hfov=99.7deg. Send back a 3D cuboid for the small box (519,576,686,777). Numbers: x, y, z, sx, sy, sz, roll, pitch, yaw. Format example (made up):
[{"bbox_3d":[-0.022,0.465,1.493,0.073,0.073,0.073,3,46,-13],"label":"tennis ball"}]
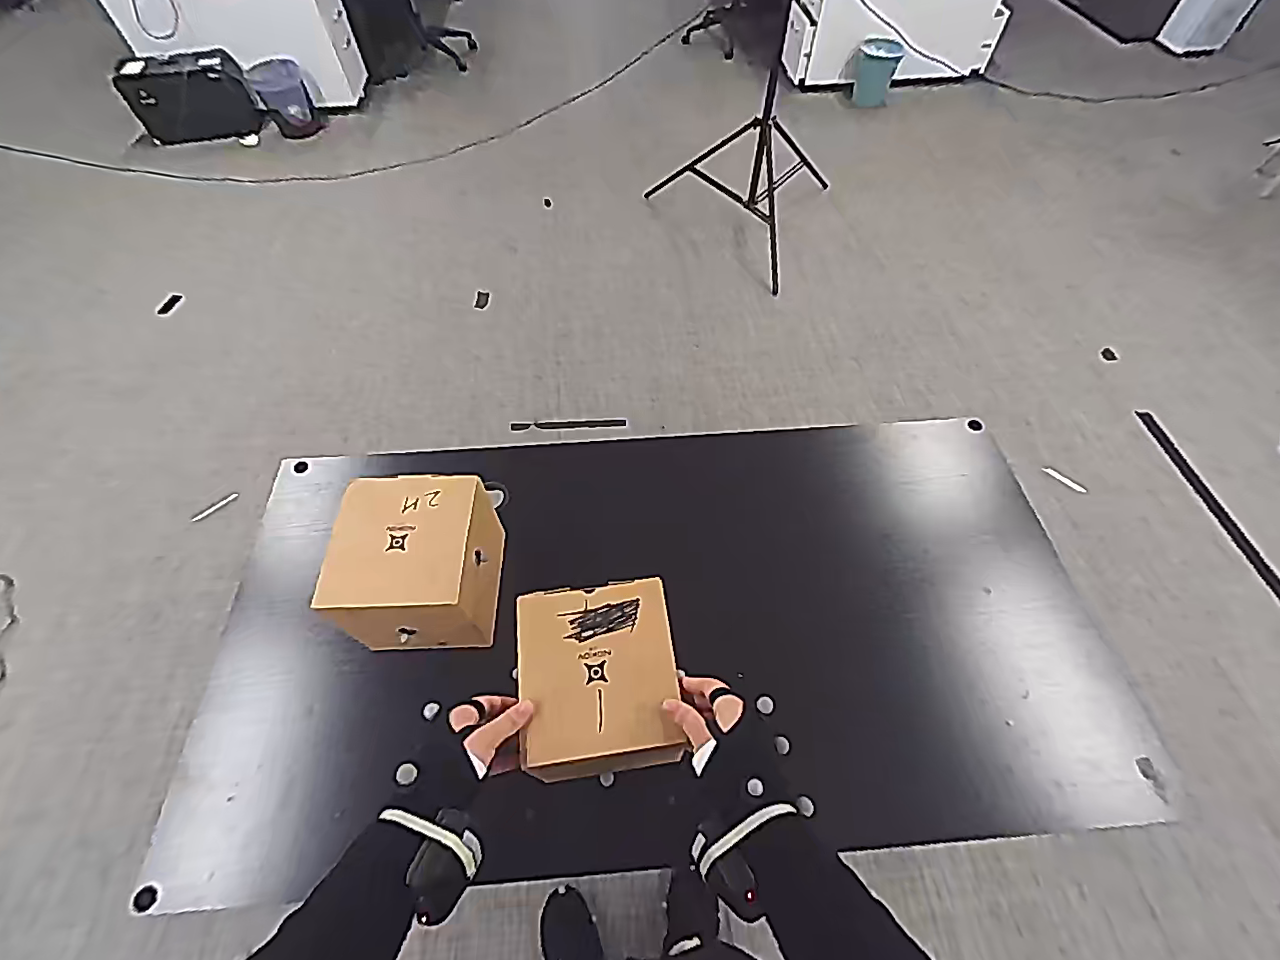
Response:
[{"bbox_3d":[-0.045,0.234,0.636,0.168,0.176,0.179,-8,57,-4],"label":"small box"}]

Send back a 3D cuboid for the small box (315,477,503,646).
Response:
[{"bbox_3d":[-0.287,0.115,0.719,0.168,0.176,0.179,-2,56,-1],"label":"small box"}]
